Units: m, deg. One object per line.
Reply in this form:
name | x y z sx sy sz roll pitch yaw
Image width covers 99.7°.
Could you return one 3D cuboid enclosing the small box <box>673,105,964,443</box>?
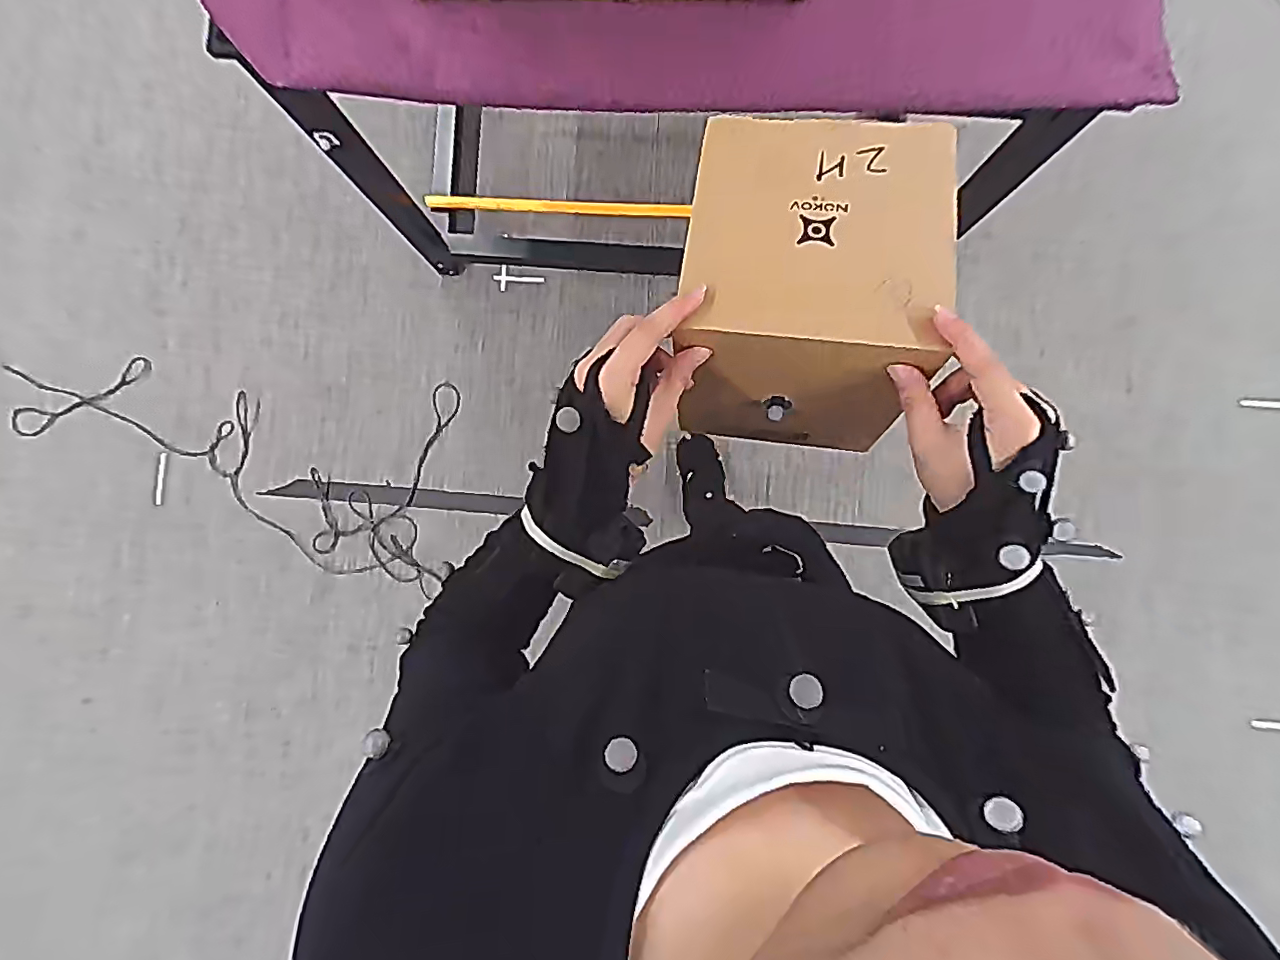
small box | 0.122 -0.142 0.412 0.168 0.176 0.179 8 72 8
